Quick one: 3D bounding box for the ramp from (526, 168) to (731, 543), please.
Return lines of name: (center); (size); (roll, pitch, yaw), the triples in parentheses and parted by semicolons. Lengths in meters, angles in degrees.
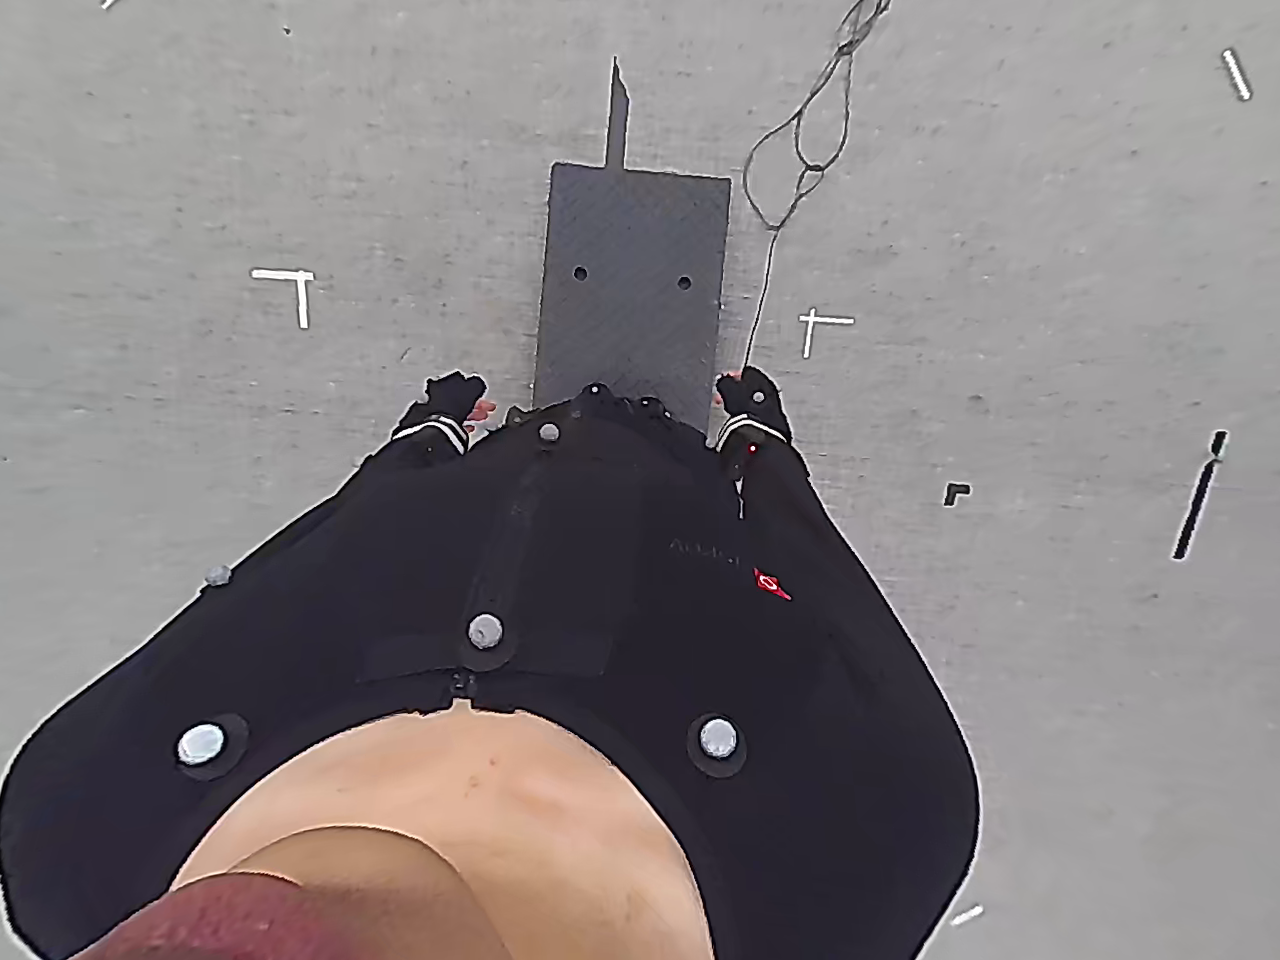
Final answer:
ramp: (-0.035, -0.338, 1.487); (0.509, 0.206, 0.991); (3, 101, 1)
